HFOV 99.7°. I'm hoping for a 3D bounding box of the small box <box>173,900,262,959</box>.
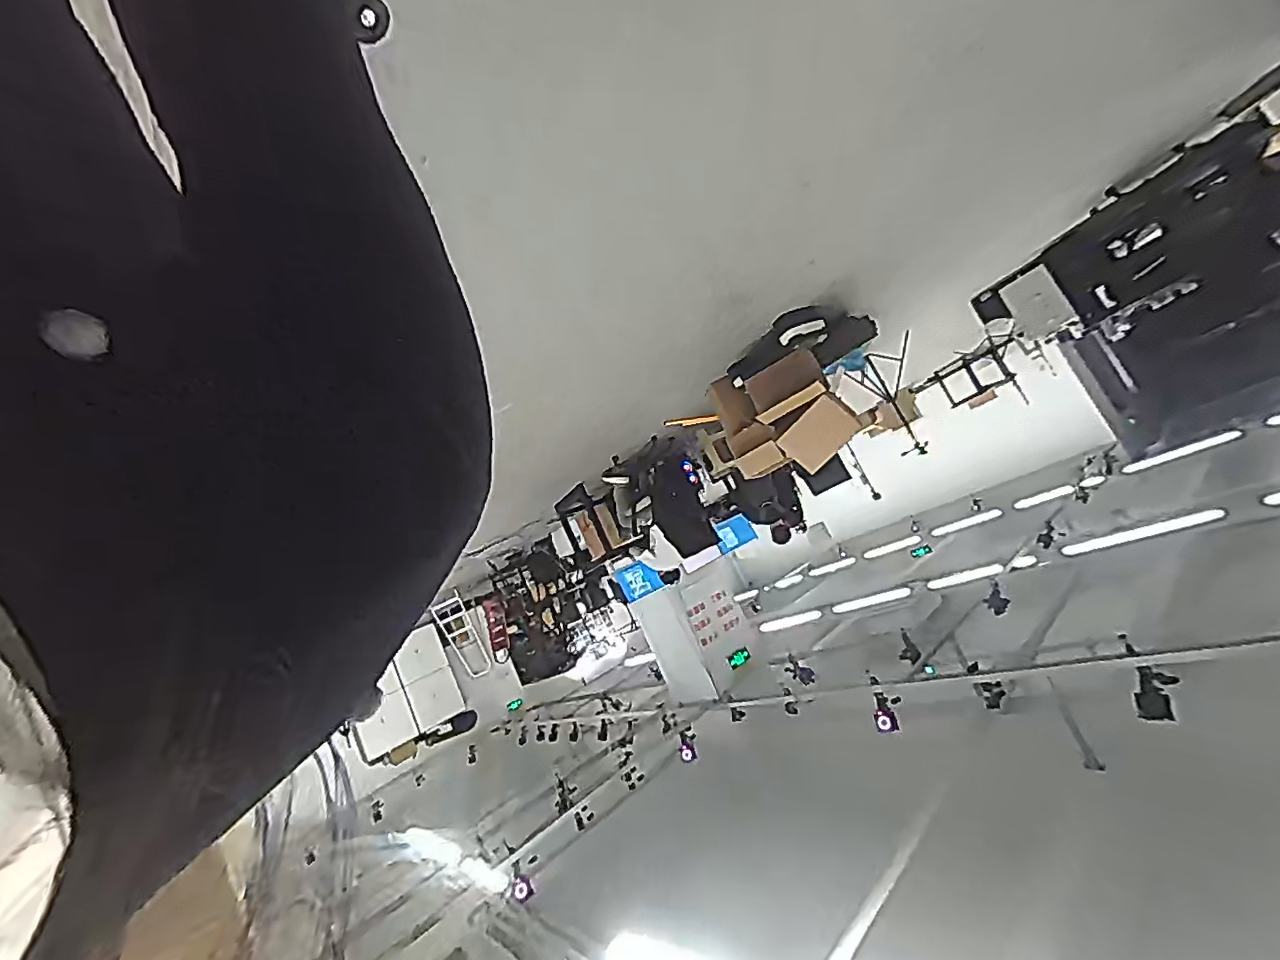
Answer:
[{"bbox_3d":[-1.324,1.477,1.699,0.168,0.176,0.179,-23,169,-33],"label":"small box"}]
